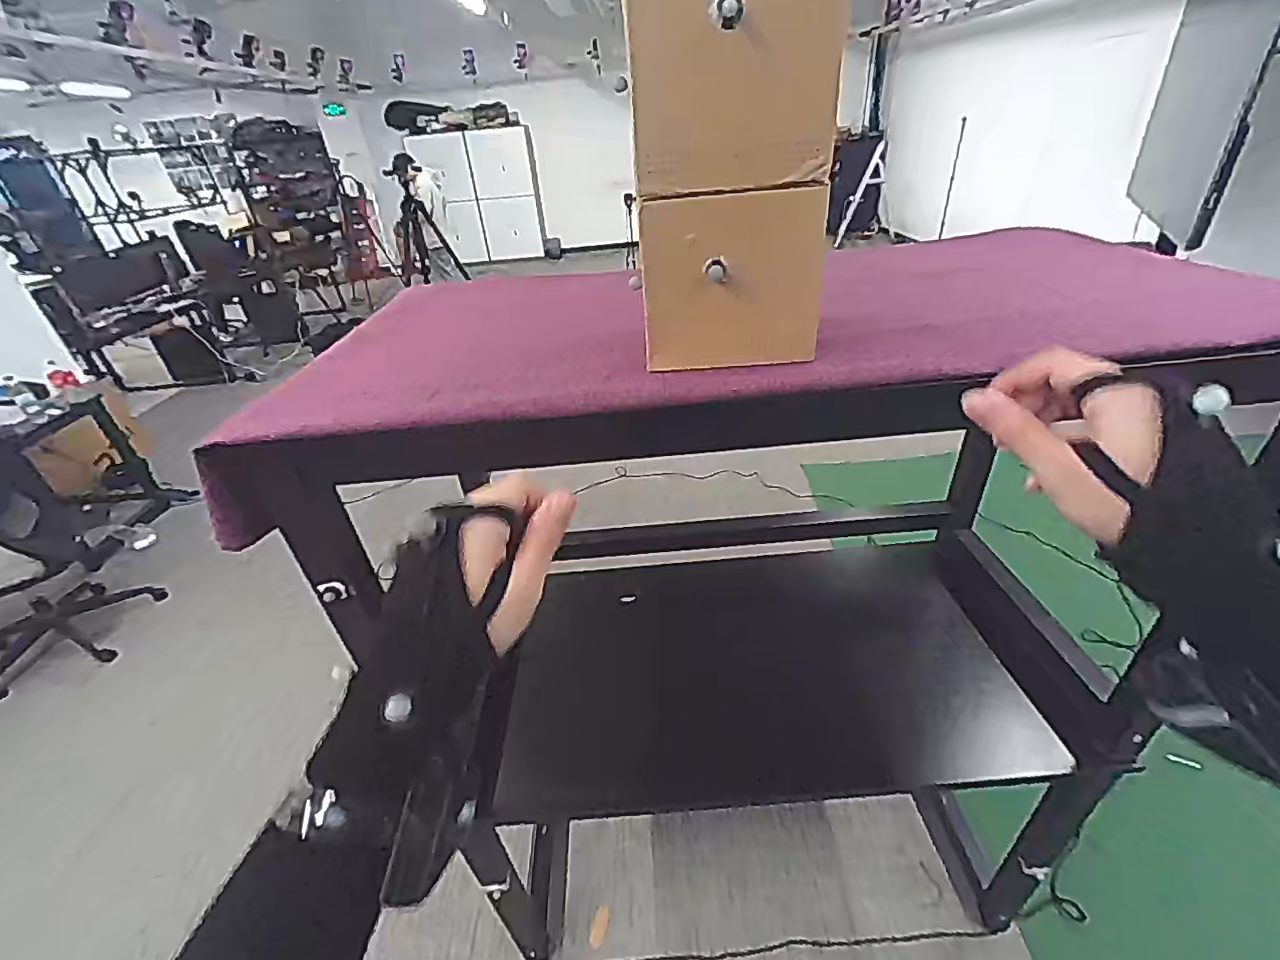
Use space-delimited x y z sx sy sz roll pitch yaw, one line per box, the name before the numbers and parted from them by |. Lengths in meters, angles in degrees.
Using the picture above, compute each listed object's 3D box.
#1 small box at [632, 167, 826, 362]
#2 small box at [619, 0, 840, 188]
small box | 0.091 -0.236 0.588 0.179 0.176 0.168 -4 32 5
small box | 0.079 -0.374 0.501 0.179 0.176 0.168 -2 33 6
